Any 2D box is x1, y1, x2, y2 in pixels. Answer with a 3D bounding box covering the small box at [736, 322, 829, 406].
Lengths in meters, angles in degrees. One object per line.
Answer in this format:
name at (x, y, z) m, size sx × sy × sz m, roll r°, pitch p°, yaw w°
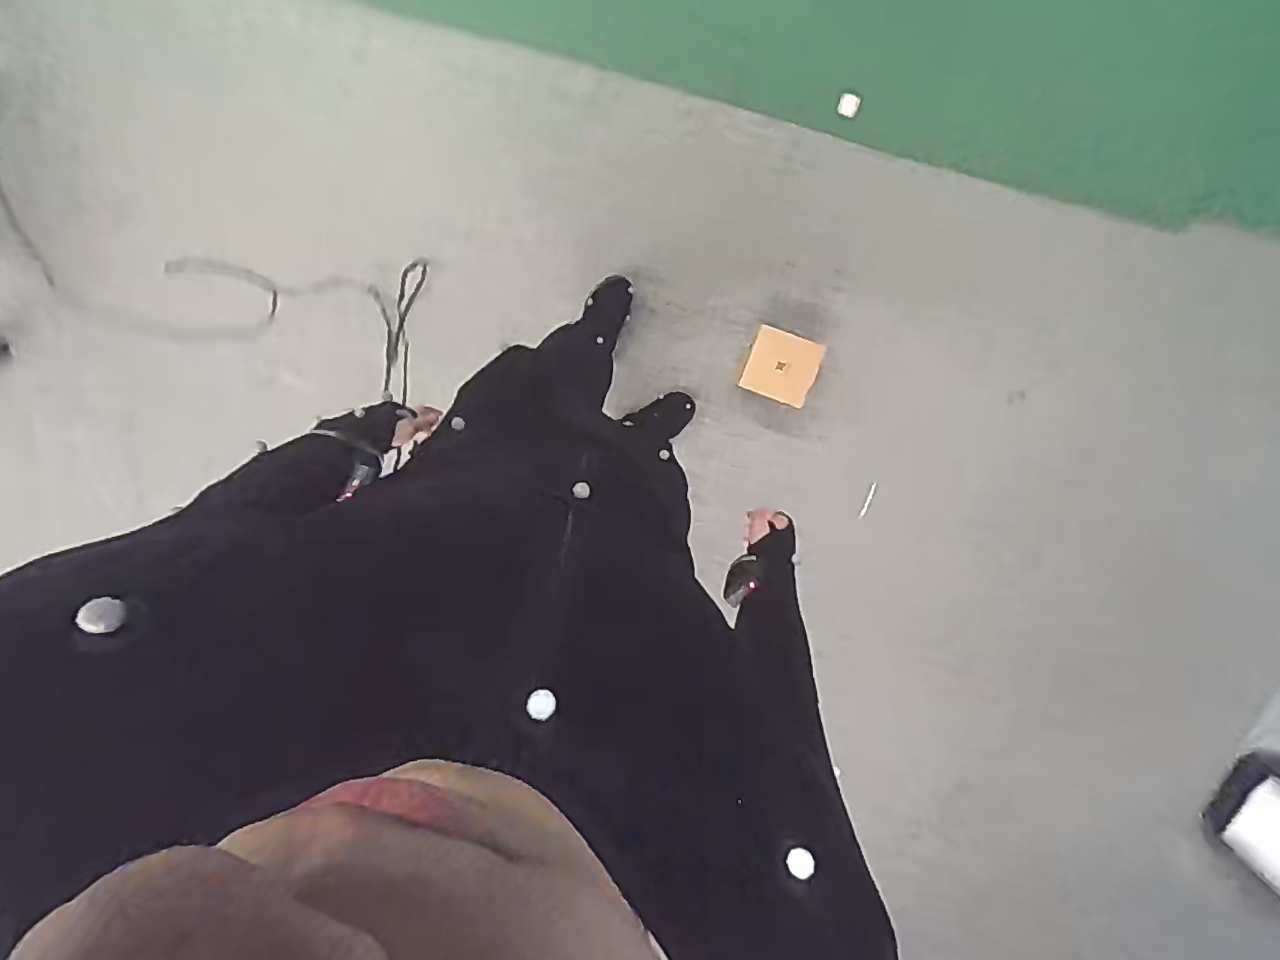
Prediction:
small box at (0.369, -0.312, 1.443) m, size 0.179 × 0.176 × 0.168 m, roll 20°, pitch 106°, yaw -2°
